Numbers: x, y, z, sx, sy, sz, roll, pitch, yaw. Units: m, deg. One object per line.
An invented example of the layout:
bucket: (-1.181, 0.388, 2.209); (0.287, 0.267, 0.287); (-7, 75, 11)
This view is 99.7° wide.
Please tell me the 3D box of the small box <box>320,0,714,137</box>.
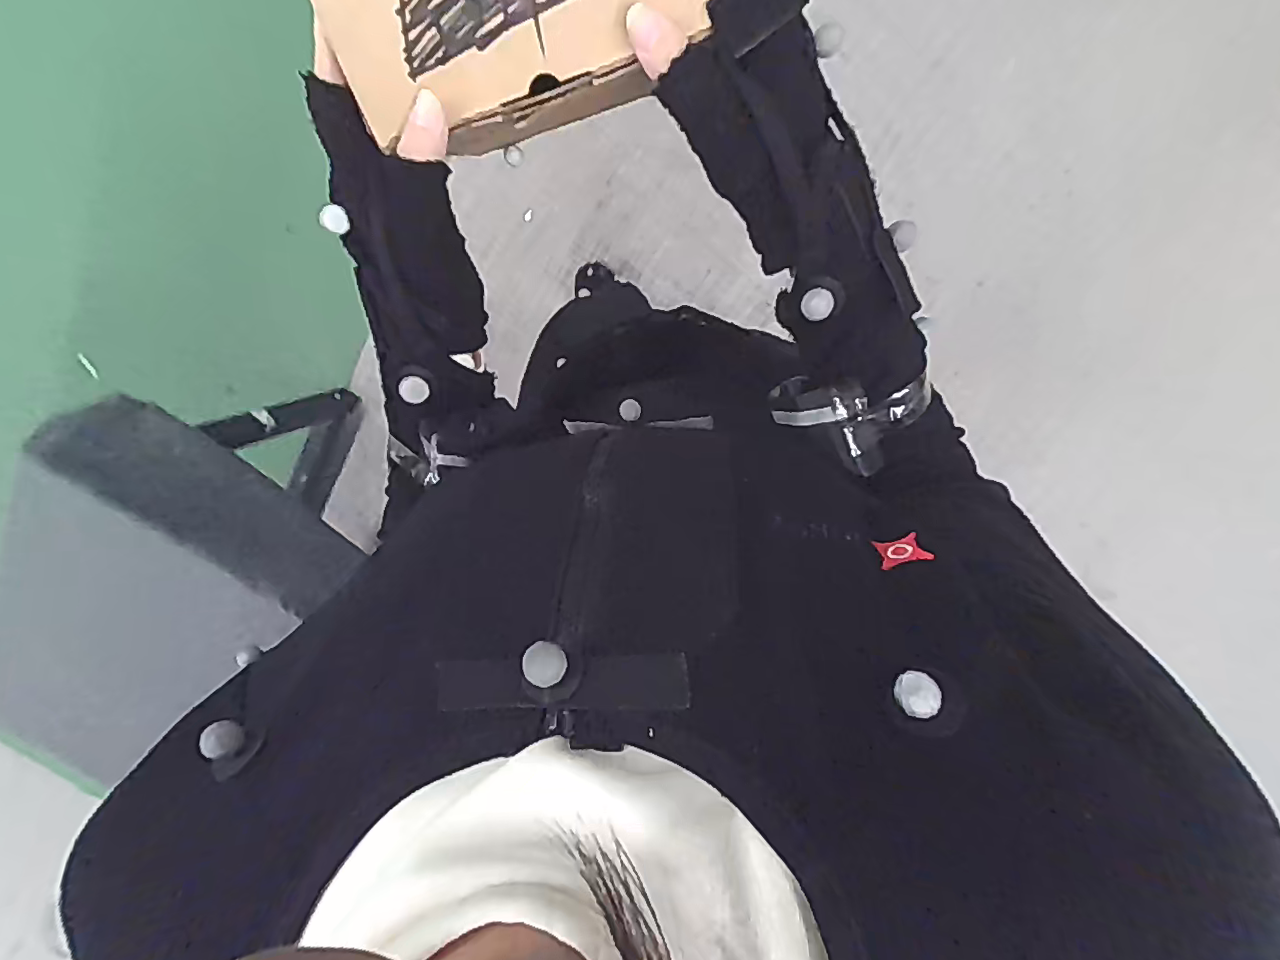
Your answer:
small box: (-0.064, -0.291, 0.268); (0.168, 0.176, 0.179); (-13, 118, 9)
